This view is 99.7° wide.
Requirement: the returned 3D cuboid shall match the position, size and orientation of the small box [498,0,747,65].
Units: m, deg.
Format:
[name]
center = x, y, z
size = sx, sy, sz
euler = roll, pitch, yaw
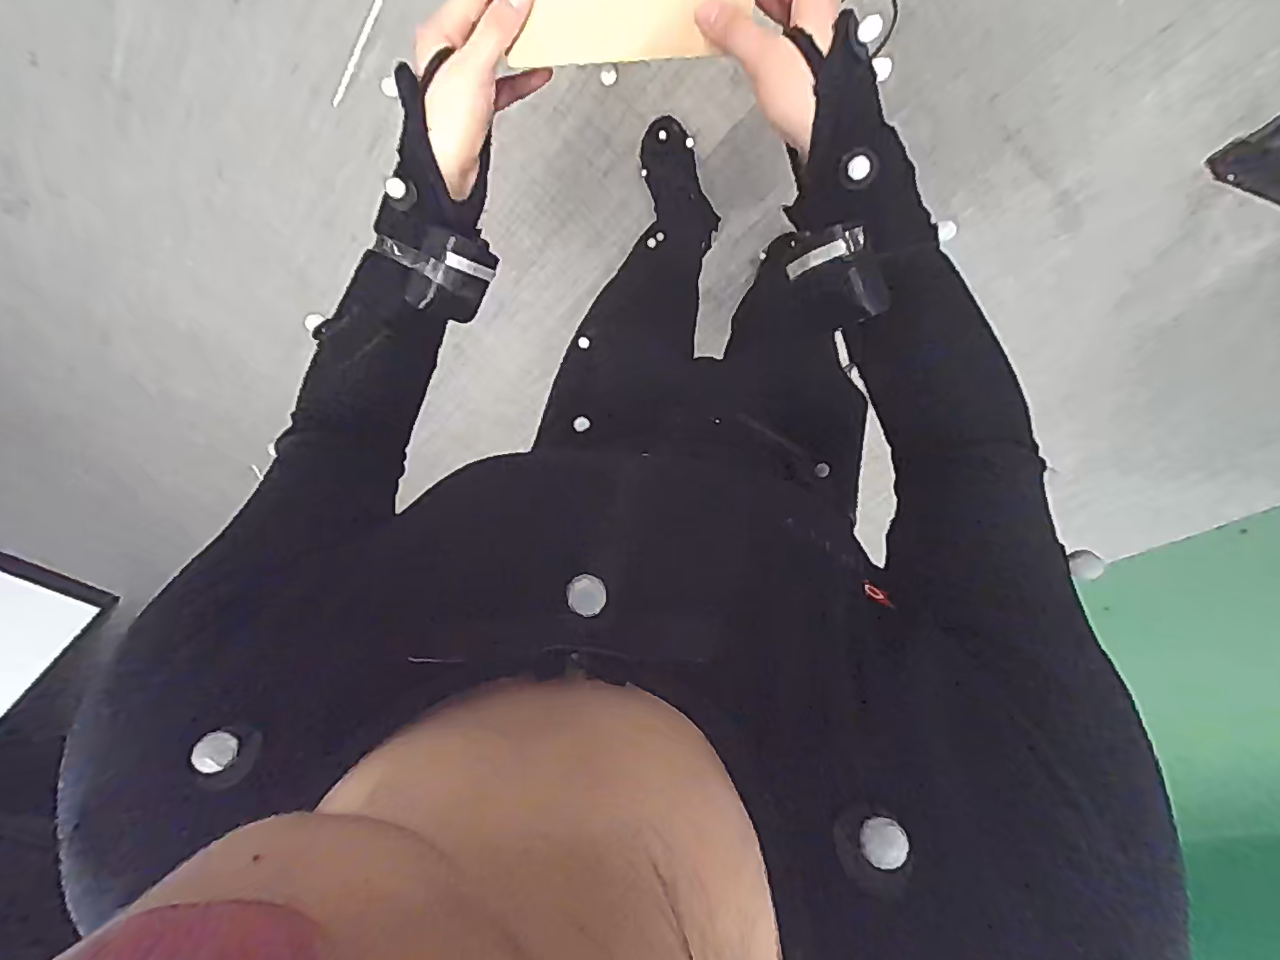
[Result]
[small box]
center = -0.007, -0.405, 0.374
size = 0.168, 0.176, 0.179
euler = 1, 128, 5
